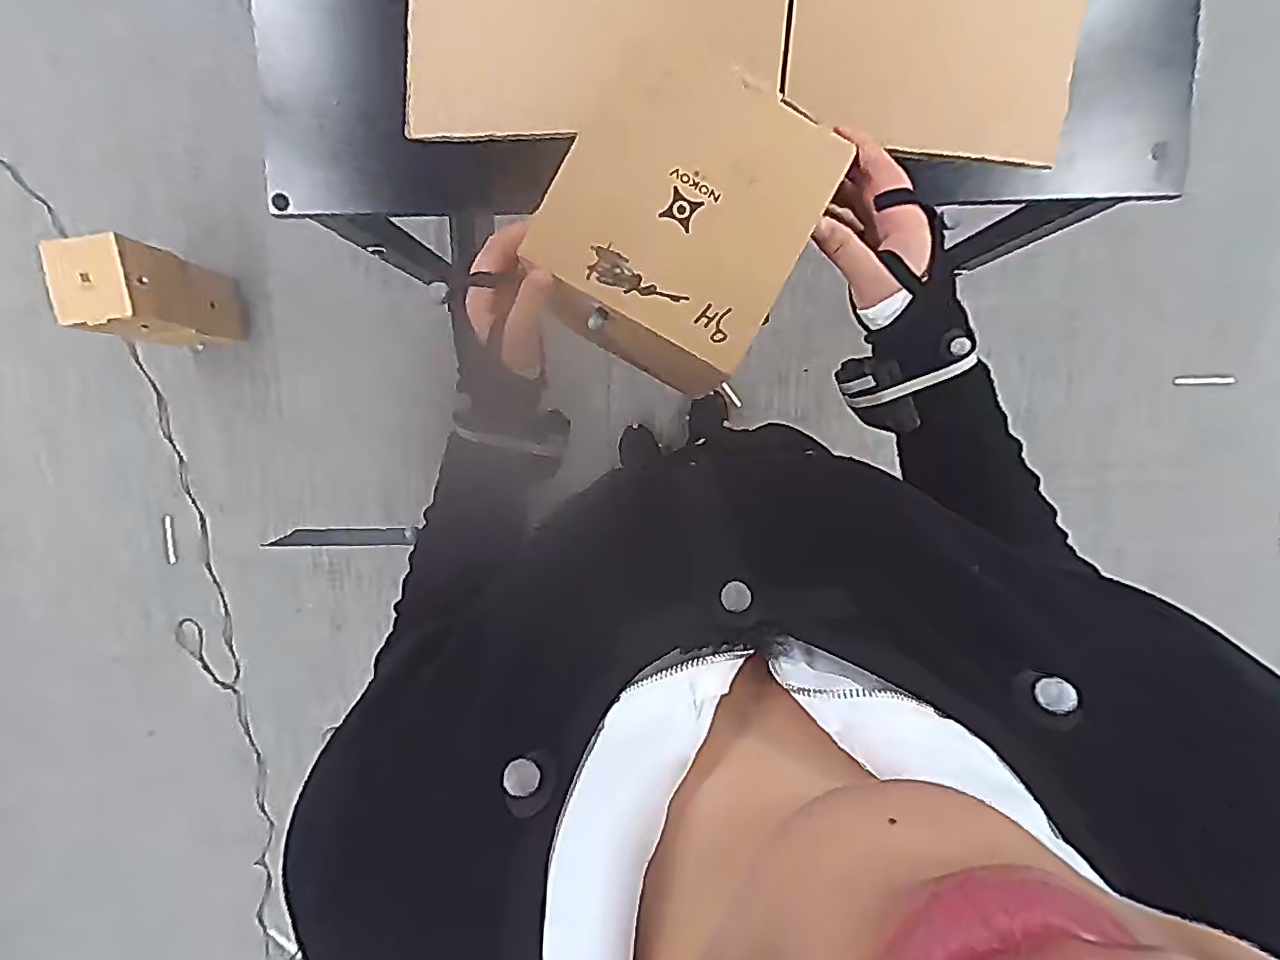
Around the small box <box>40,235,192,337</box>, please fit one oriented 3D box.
[{"bbox_3d":[-1.162,-0.426,1.217,0.168,0.176,0.179,-8,96,1],"label":"small box"}]

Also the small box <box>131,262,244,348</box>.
[{"bbox_3d":[-1.158,-0.440,1.379,0.168,0.176,0.179,-5,98,2],"label":"small box"}]
